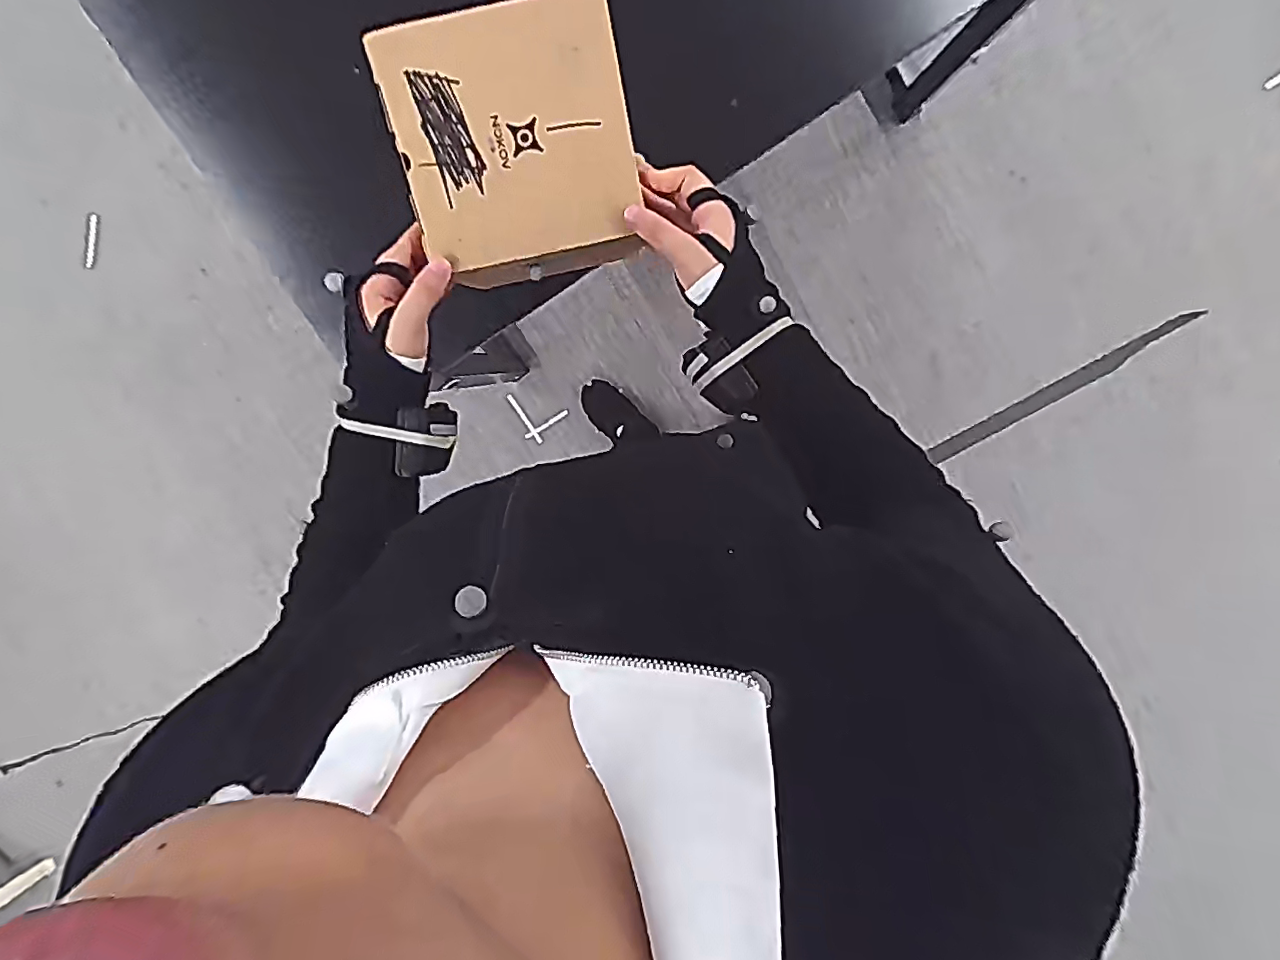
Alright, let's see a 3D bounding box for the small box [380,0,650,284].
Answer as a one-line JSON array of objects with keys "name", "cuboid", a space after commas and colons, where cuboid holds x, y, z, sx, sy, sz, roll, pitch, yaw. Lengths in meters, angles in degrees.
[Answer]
[{"name": "small box", "cuboid": [-0.093, -0.279, 0.485, 0.179, 0.176, 0.168, -11, 107, -1]}]
